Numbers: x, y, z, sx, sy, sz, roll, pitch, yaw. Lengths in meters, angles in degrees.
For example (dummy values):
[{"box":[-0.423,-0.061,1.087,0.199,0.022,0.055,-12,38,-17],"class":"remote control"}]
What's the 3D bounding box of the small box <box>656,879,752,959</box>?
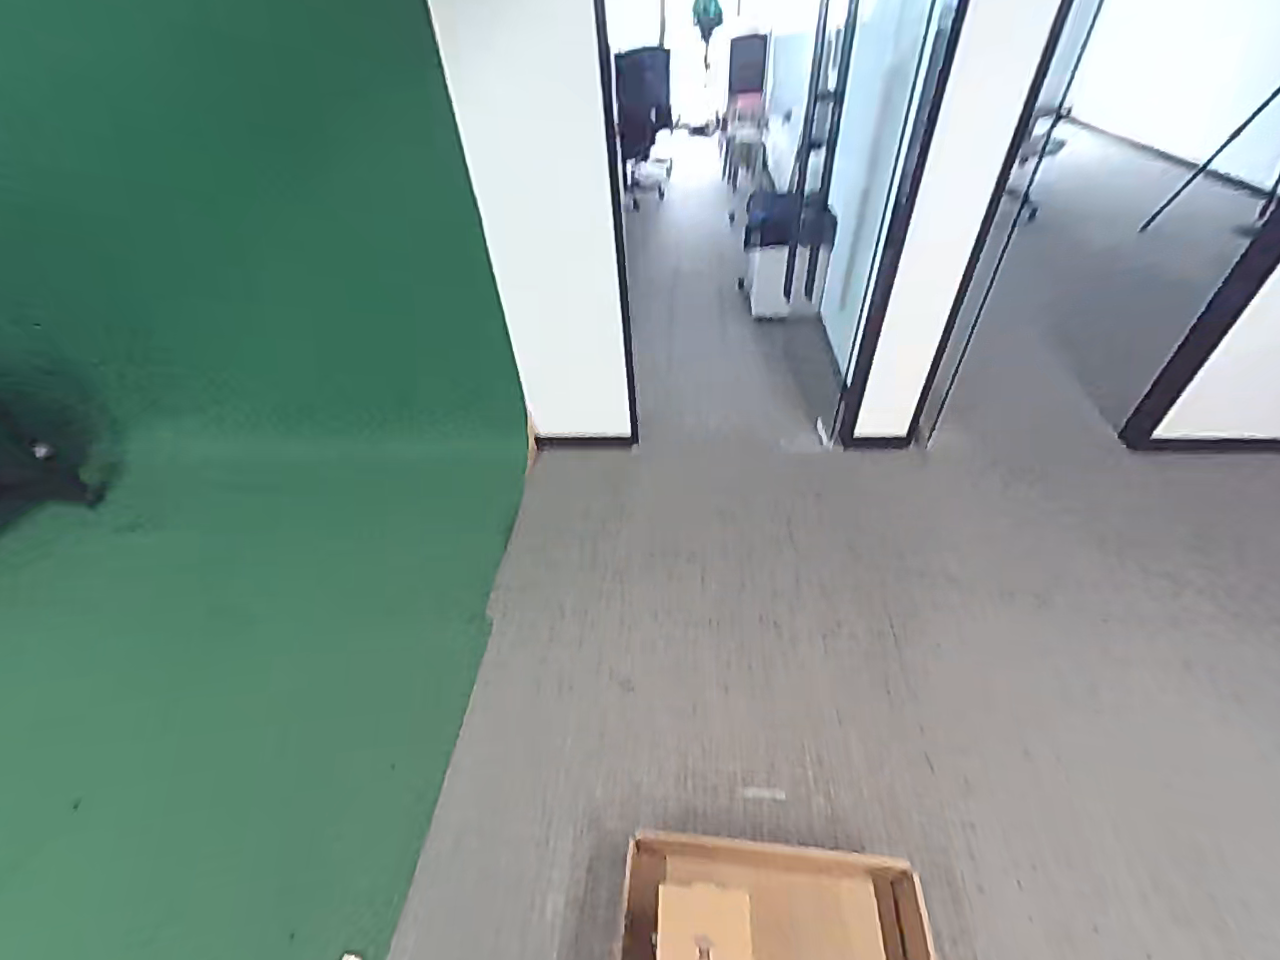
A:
[{"box":[0.113,0.858,0.986,0.168,0.176,0.179,0,43,5],"class":"small box"}]
